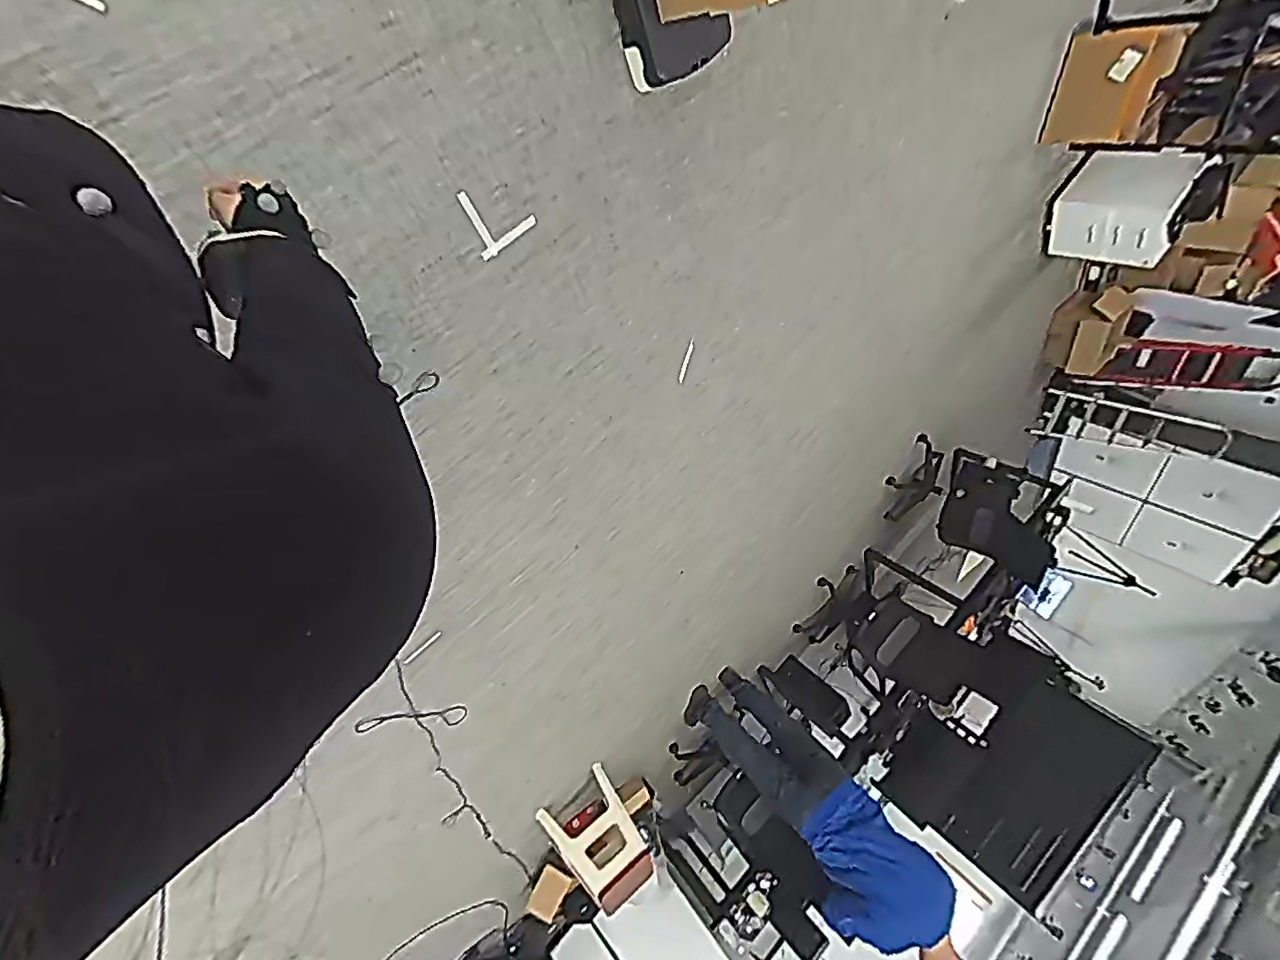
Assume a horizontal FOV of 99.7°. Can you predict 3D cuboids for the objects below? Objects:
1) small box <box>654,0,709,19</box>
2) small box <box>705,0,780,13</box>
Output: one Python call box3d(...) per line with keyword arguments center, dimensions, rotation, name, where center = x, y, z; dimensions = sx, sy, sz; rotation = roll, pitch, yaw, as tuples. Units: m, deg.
box3d(center=(0.129, -1.156, 1.196), dimensions=(0.179, 0.176, 0.168), rotation=(-39, 137, -18), name="small box")
box3d(center=(0.234, -1.080, 1.096), dimensions=(0.168, 0.176, 0.179), rotation=(-37, 134, -20), name="small box")
